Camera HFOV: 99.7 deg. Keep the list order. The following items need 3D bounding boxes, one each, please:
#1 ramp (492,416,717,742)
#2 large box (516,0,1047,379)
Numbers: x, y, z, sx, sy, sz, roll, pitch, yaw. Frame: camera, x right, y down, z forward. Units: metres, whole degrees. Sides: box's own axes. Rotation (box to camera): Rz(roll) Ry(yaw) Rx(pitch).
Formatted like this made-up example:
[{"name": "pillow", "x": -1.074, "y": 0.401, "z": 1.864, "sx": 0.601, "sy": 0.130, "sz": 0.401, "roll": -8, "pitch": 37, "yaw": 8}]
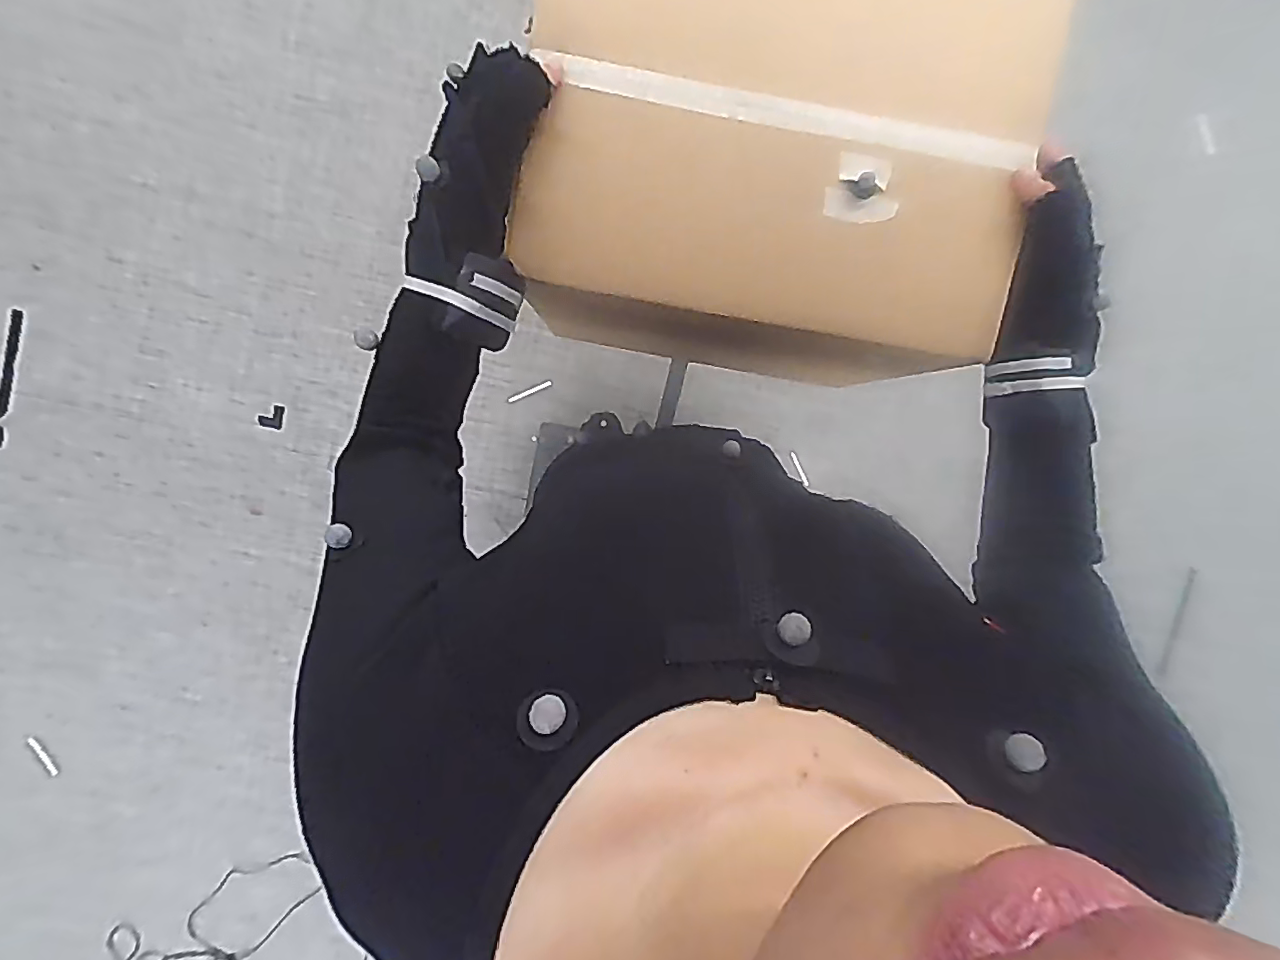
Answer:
[{"name": "ramp", "x": -0.127, "y": 0.340, "z": 1.611, "sx": 0.509, "sy": 0.206, "sz": 0.991, "roll": 10, "pitch": 96, "yaw": -5}, {"name": "large box", "x": 0.107, "y": -0.304, "z": 0.585, "sx": 0.408, "sy": 0.320, "sz": 0.320, "roll": 9, "pitch": 96, "yaw": -3}]
